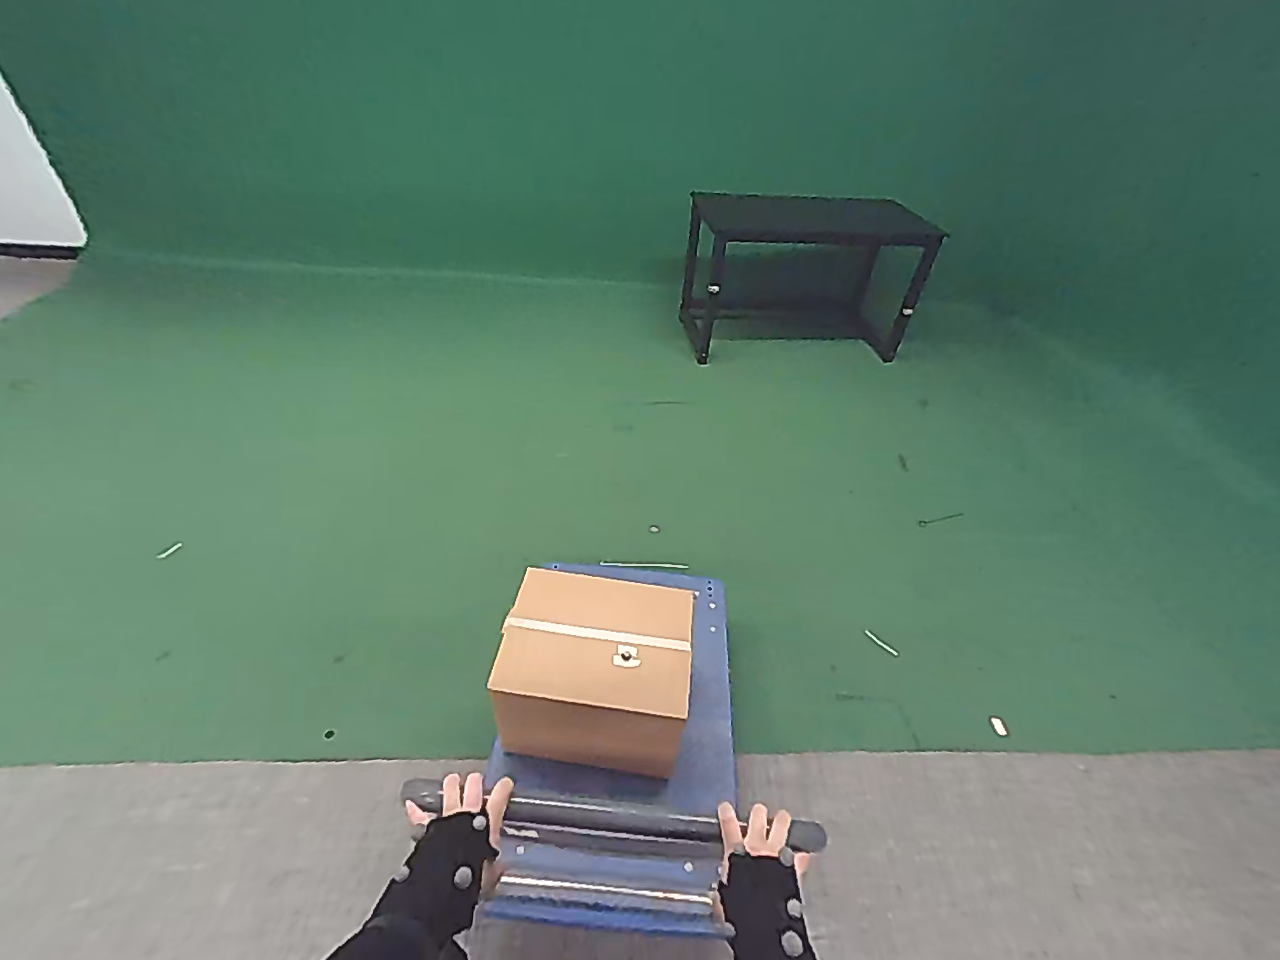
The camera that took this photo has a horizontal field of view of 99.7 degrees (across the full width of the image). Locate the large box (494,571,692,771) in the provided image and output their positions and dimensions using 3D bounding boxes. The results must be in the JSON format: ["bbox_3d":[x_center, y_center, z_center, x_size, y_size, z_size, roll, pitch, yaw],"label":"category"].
[{"bbox_3d":[-0.102,0.457,1.295,0.408,0.320,0.320,8,42,1],"label":"large box"}]
